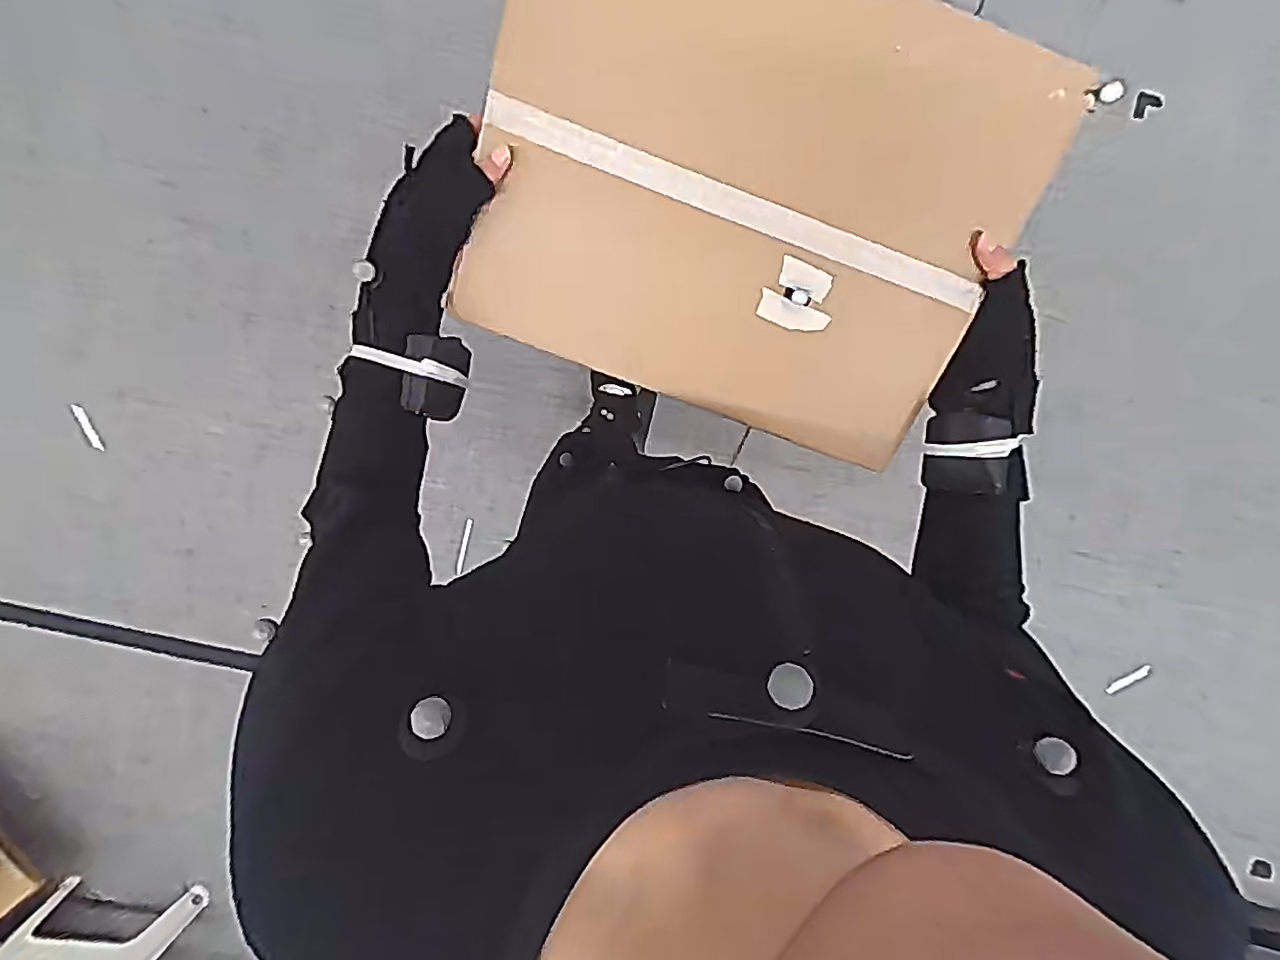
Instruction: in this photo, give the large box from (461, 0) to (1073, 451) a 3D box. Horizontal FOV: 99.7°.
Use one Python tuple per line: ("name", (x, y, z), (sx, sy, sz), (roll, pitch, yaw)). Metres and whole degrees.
("large box", (0.081, -0.273, 0.563), (0.408, 0.320, 0.320), (18, 113, -6))
